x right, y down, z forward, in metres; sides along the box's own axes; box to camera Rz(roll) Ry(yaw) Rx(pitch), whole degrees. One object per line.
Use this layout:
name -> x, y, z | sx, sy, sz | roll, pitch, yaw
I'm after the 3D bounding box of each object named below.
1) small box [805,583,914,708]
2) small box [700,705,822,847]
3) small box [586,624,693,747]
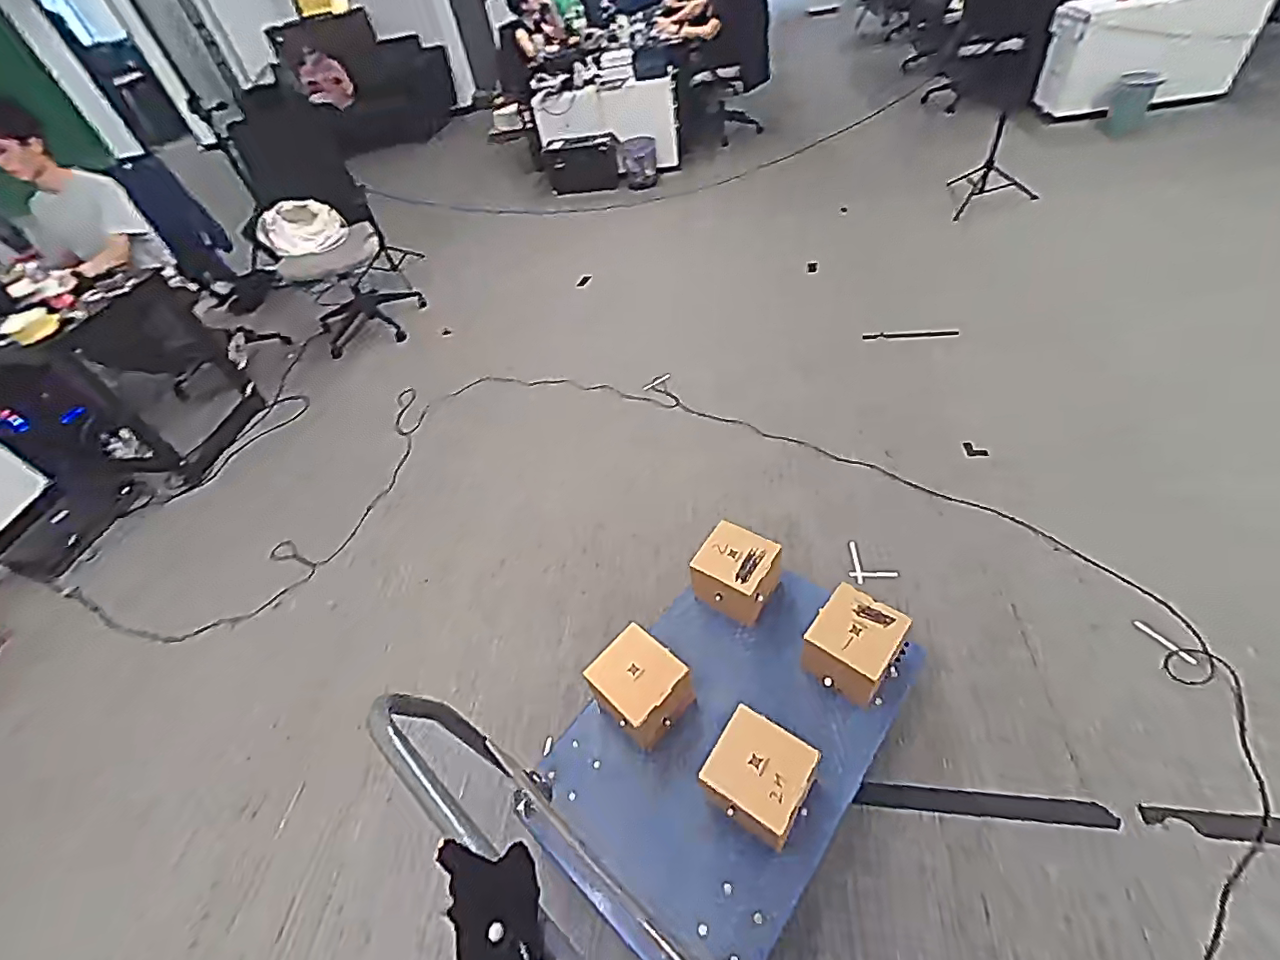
small box -> 0.487, 0.376, 1.227 | 0.168, 0.176, 0.179 | 29, 60, 32
small box -> 0.239, 0.593, 1.078 | 0.179, 0.176, 0.168 | 24, 57, 30
small box -> 0.003, 0.473, 1.239 | 0.179, 0.176, 0.168 | 33, 61, 32
